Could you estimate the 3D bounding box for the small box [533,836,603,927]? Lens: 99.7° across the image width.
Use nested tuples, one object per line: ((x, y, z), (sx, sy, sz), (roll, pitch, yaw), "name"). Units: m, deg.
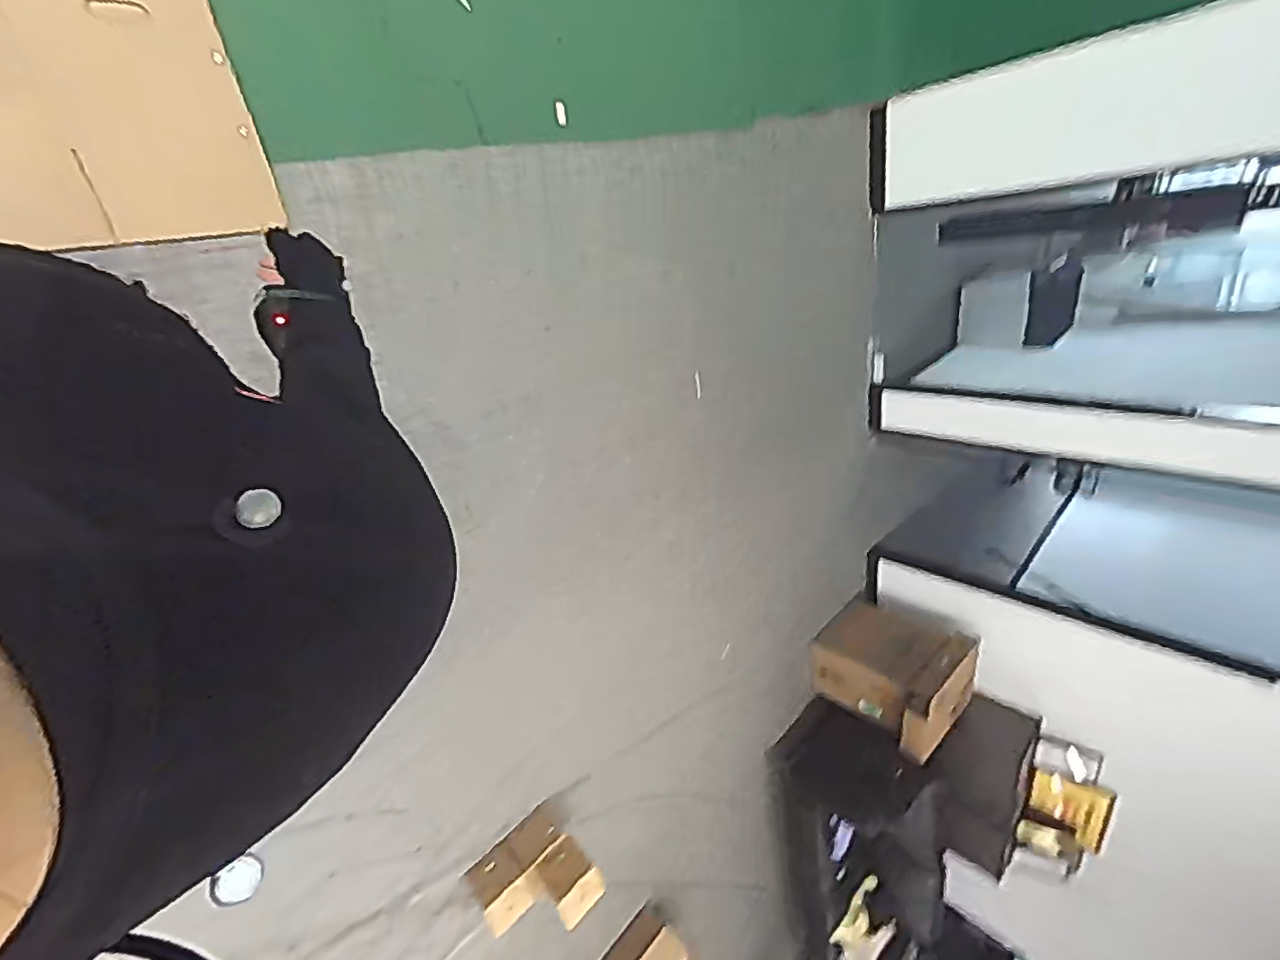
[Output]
((-0.262, 1.443, 1.957), (0.168, 0.176, 0.179), (-32, 123, -33), "small box")
